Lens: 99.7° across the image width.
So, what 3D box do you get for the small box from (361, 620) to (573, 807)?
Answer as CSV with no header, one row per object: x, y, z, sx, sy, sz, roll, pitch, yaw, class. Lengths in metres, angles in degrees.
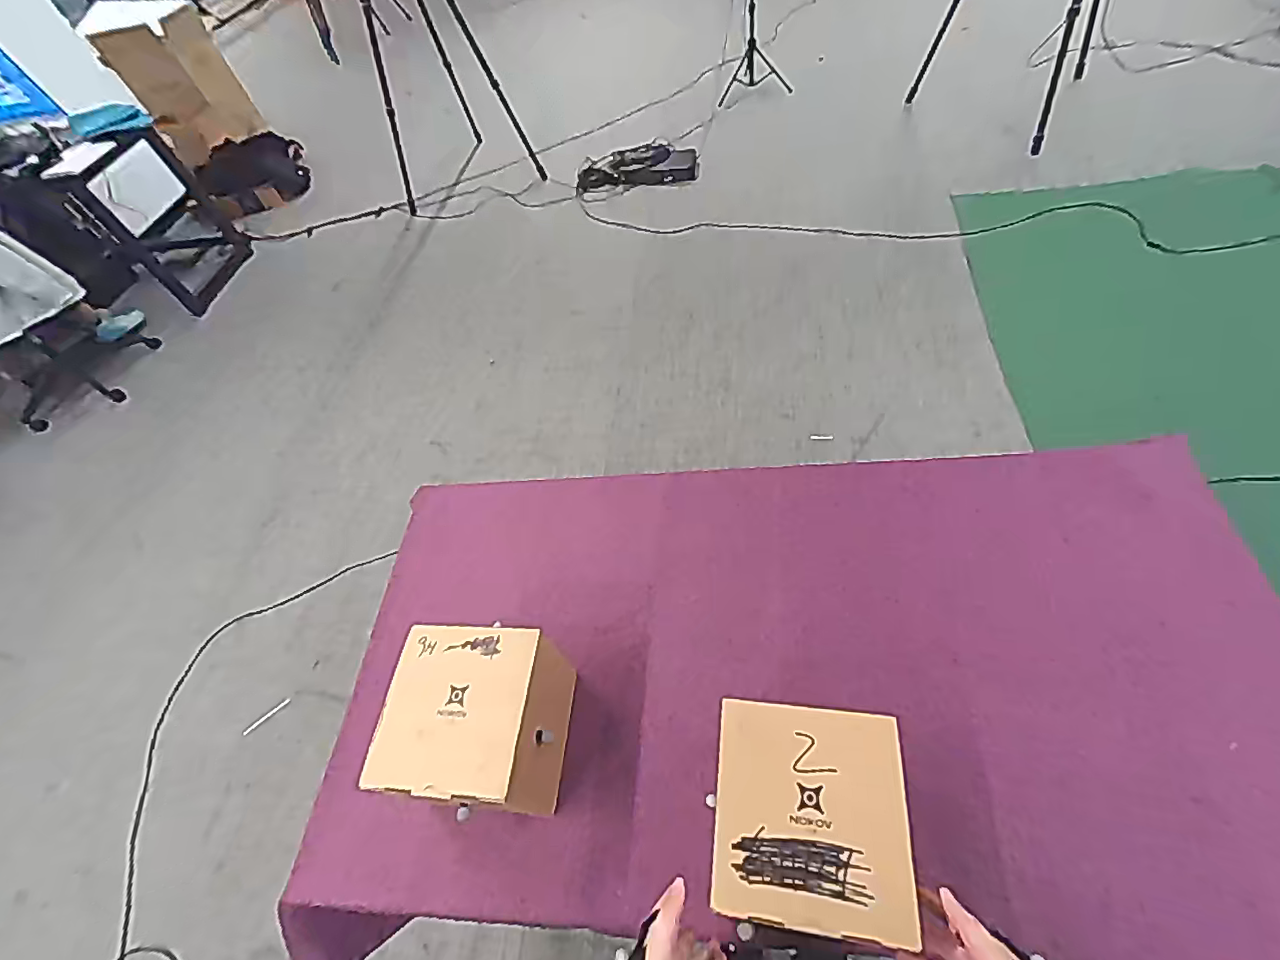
-0.189,0.285,0.654,0.168,0.176,0.179,0,56,10,small box
